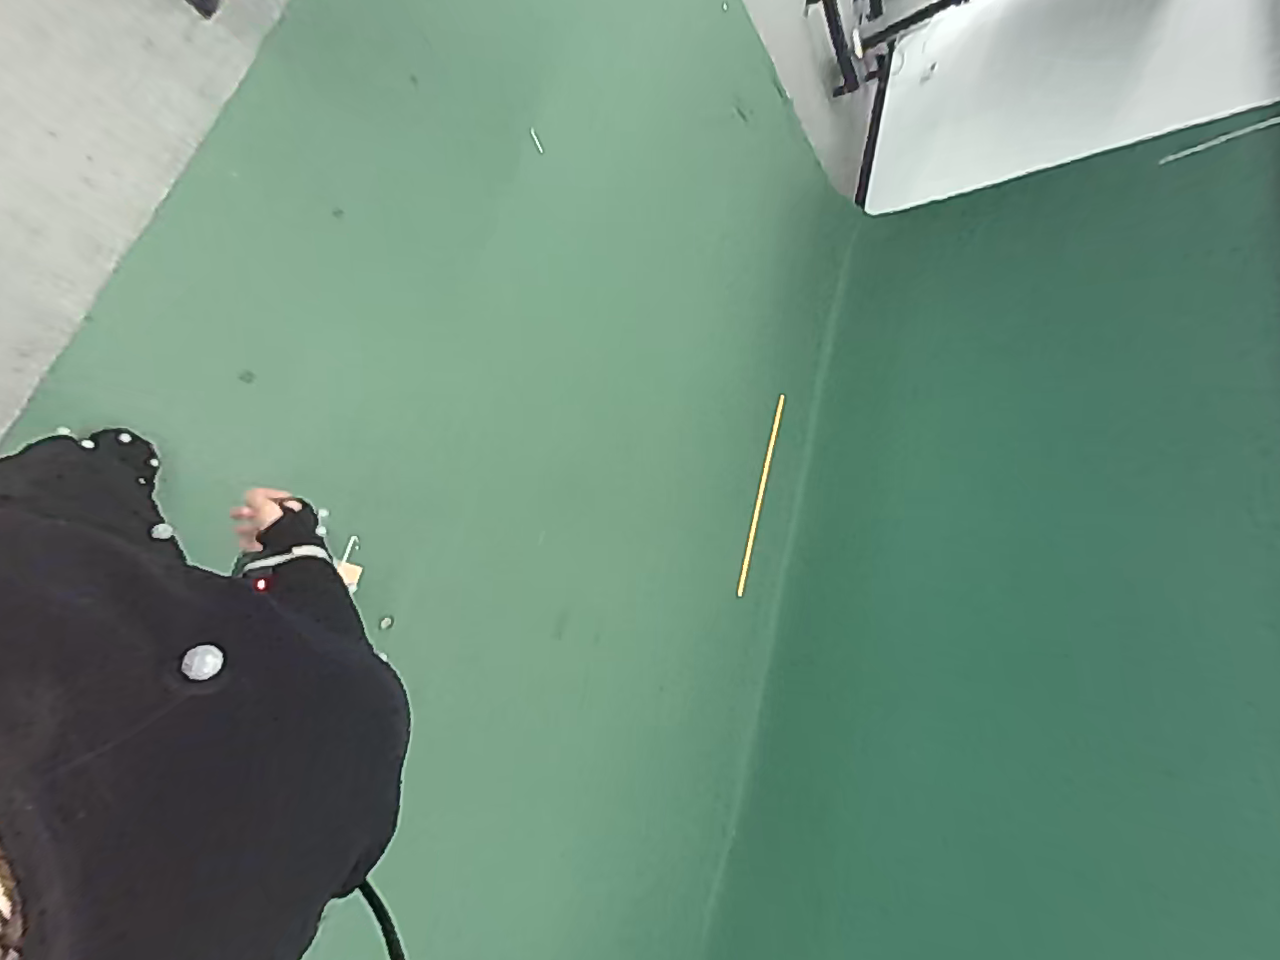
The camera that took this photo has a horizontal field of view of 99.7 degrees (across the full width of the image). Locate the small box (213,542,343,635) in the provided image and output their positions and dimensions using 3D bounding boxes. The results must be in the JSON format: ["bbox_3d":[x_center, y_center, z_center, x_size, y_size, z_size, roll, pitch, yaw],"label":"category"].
[{"bbox_3d":[-0.848,0.250,1.268,0.179,0.176,0.168,35,64,-45],"label":"small box"}]
